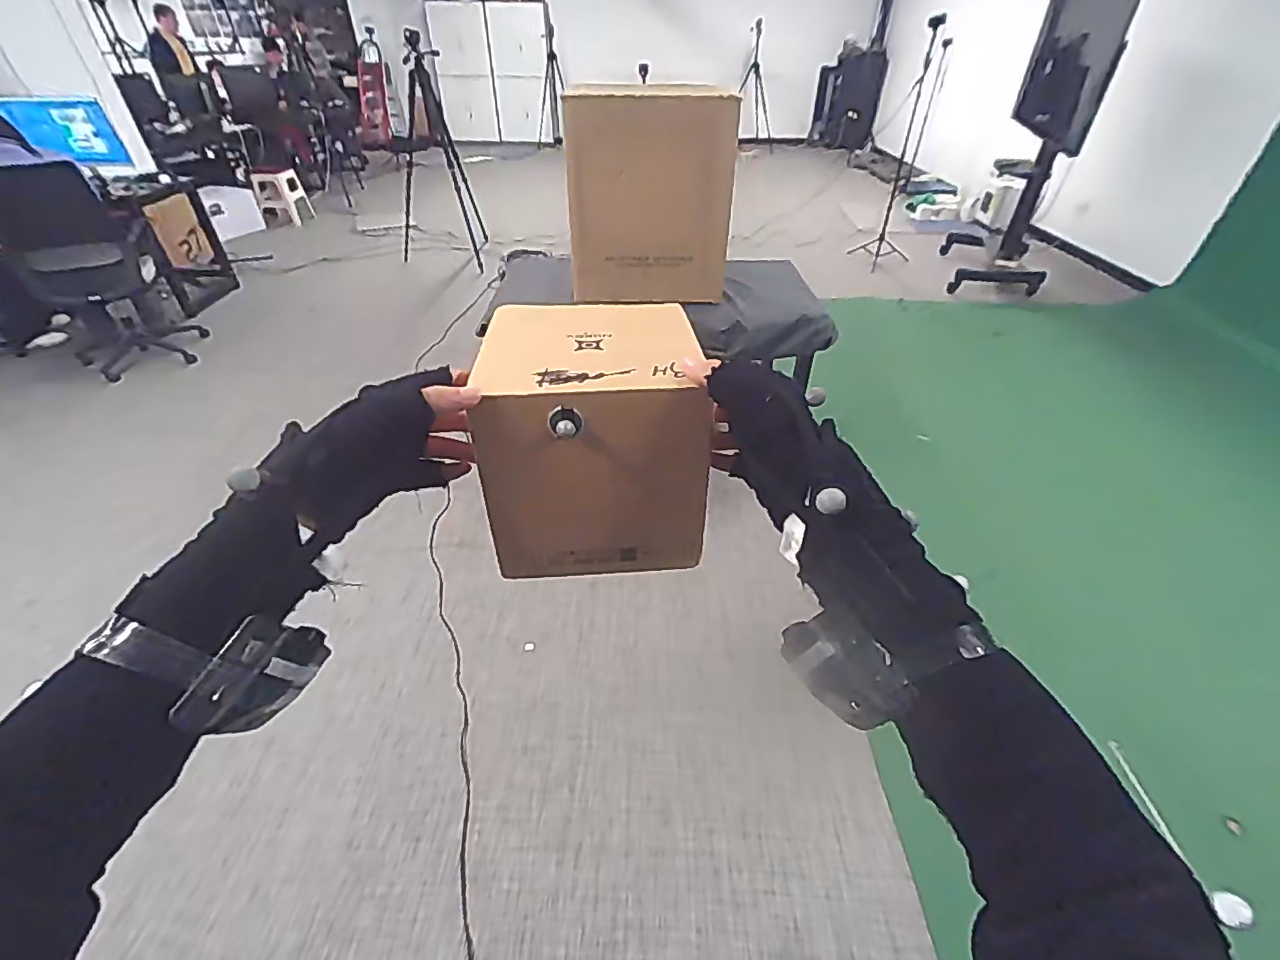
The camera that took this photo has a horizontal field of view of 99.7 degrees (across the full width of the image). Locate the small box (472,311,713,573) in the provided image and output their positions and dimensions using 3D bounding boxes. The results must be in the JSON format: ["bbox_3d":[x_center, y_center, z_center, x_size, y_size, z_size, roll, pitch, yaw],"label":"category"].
[{"bbox_3d":[-0.036,-0.039,0.475,0.168,0.176,0.179,-3,35,-3],"label":"small box"}]
